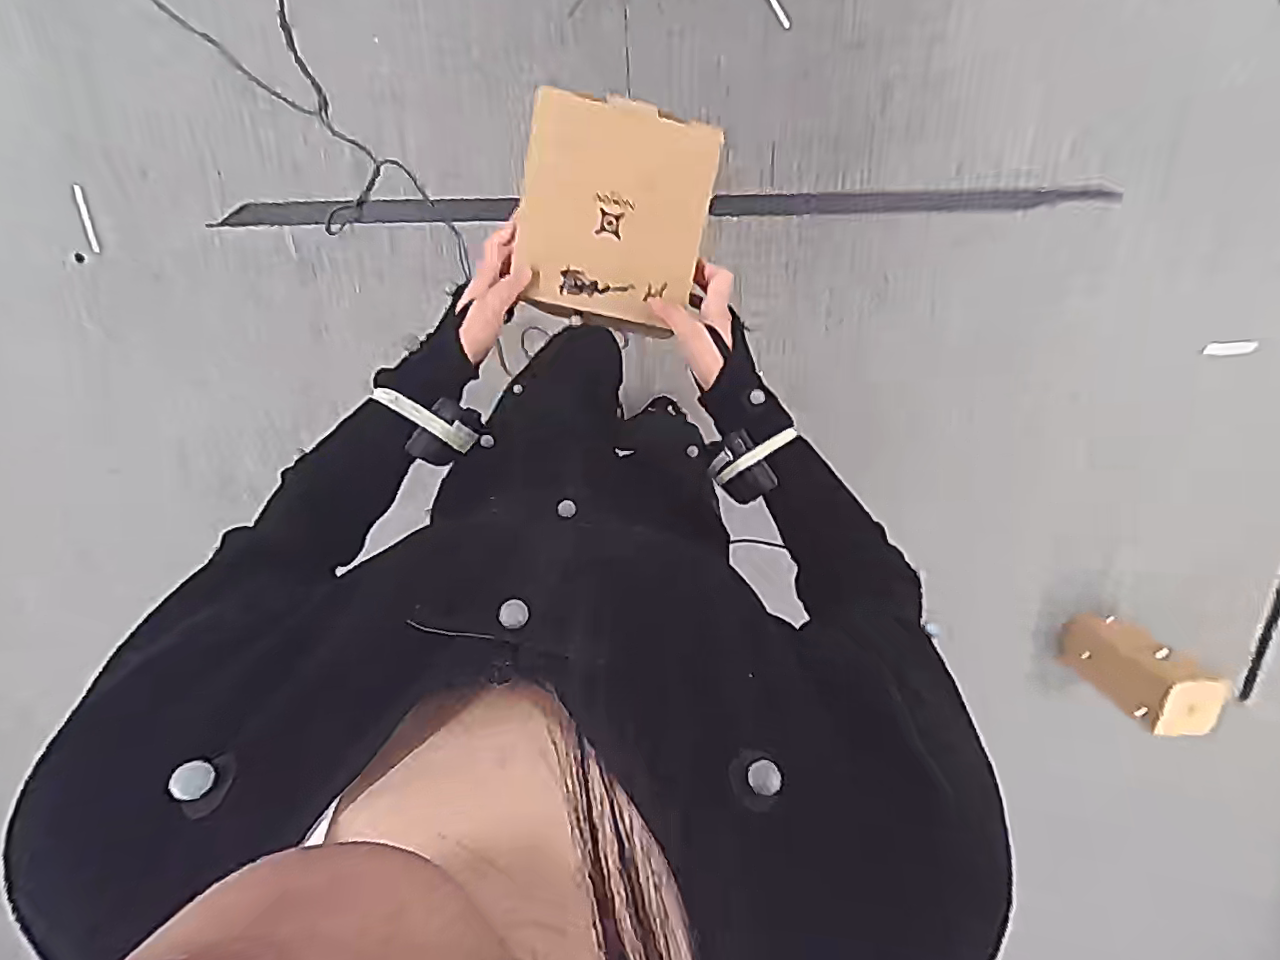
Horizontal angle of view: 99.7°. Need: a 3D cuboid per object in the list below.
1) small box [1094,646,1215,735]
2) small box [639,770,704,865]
[{"bbox_3d":[1.460,0.601,1.550,0.168,0.176,0.179,0,107,-5],"label":"small box"},{"bbox_3d":[0.090,0.978,1.585,0.168,0.176,0.179,-6,109,-1],"label":"small box"}]
